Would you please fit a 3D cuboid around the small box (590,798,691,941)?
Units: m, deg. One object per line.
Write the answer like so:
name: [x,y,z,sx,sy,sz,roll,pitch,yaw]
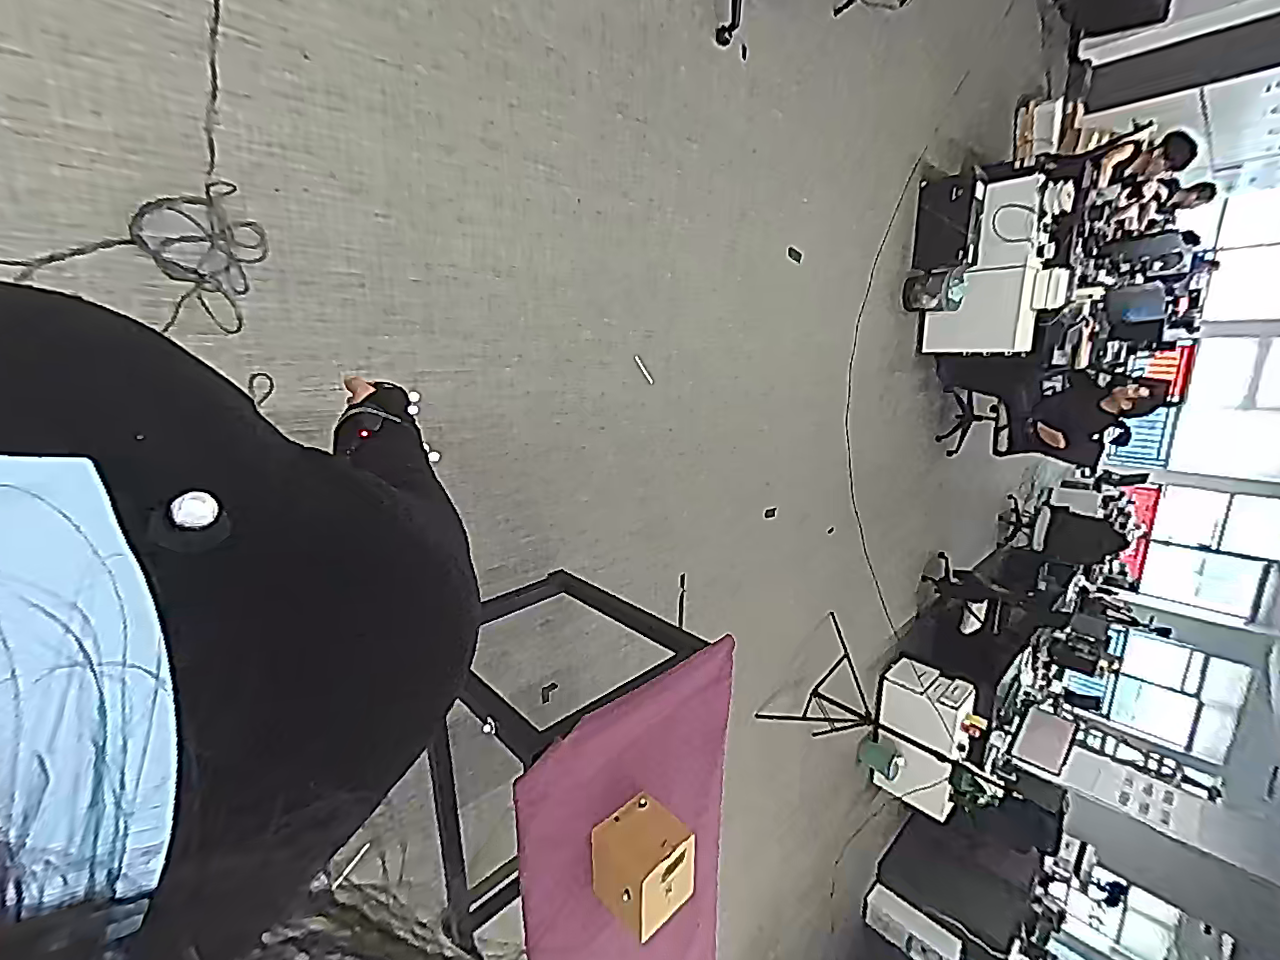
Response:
small box: [-0.002,0.866,1.231,0.168,0.176,0.179,-13,109,-42]
